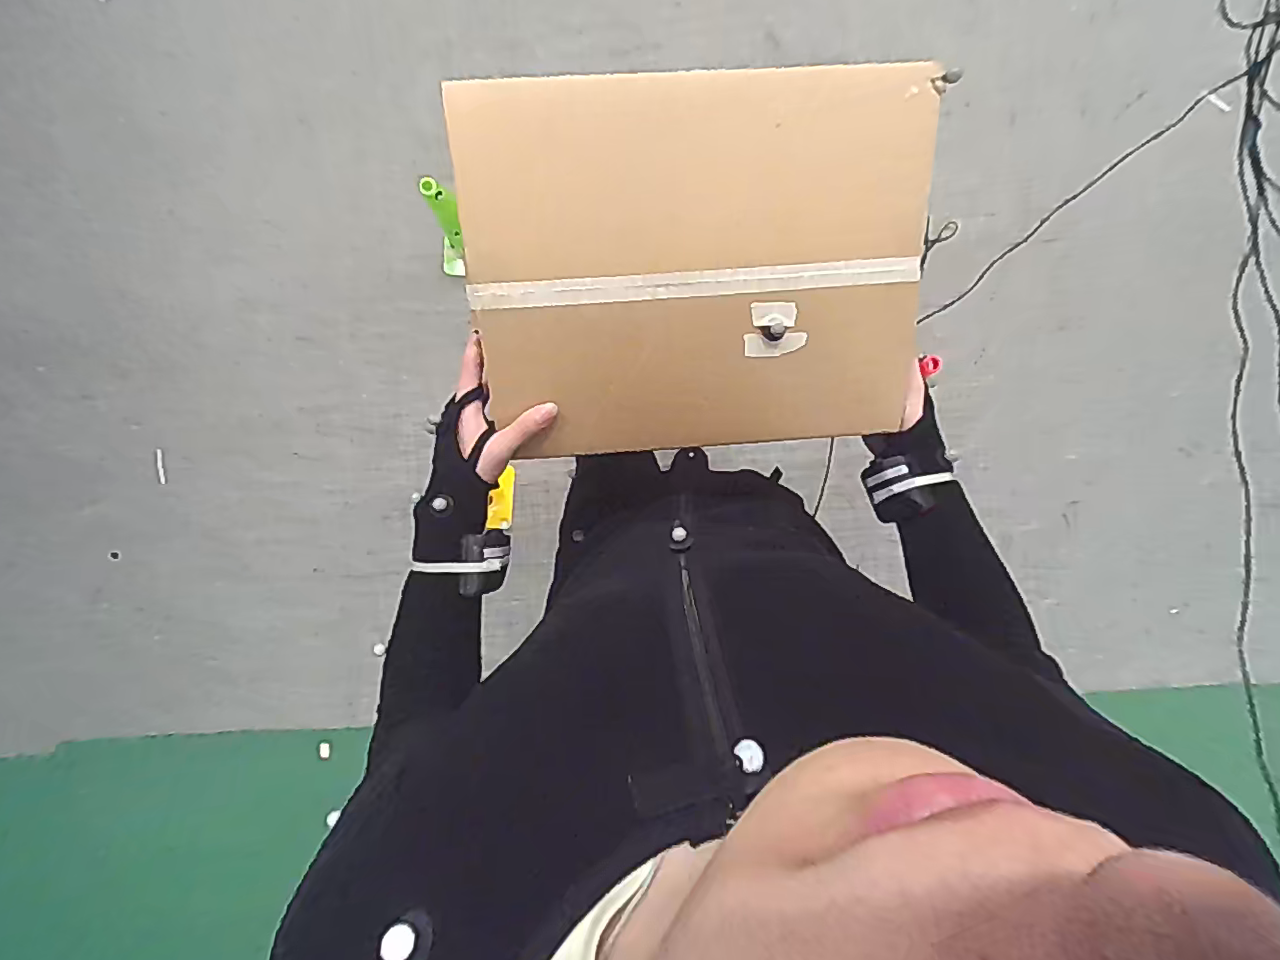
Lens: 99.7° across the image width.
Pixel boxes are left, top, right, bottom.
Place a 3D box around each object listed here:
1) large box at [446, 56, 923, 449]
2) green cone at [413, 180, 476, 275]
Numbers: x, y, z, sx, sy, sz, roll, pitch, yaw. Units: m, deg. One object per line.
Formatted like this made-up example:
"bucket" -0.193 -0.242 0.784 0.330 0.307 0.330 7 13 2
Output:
"large box" 0.037 -0.243 0.632 0.408 0.320 0.320 -5 112 -3
"green cone" -0.498 -0.690 1.415 0.200 0.368 0.202 2 96 2
